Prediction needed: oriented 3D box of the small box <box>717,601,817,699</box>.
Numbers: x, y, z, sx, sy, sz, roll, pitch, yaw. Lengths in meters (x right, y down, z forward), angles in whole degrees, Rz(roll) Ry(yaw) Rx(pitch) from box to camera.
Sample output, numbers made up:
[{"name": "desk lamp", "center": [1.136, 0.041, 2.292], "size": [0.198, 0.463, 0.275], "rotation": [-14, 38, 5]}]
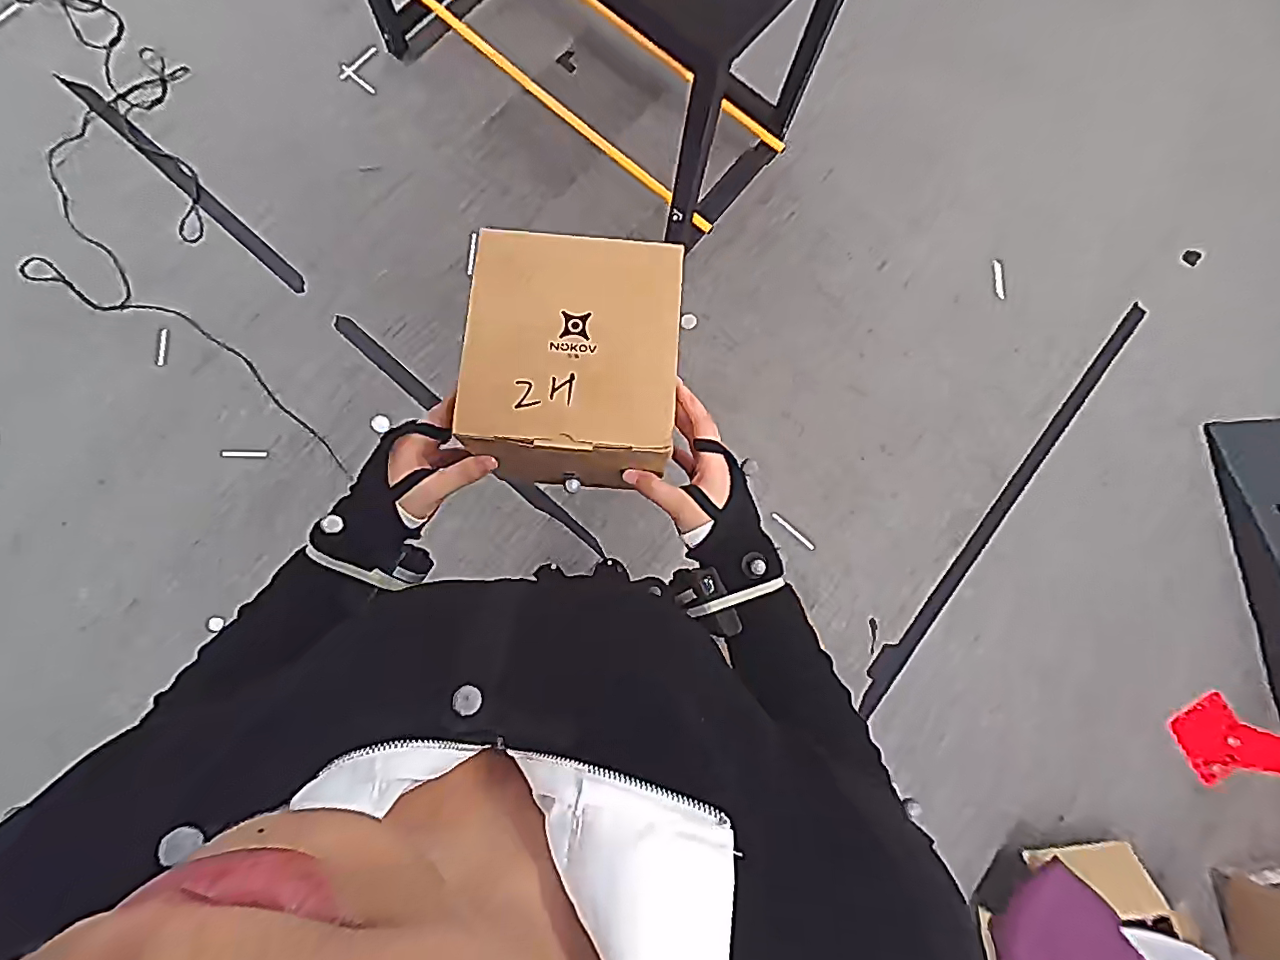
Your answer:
[{"name": "small box", "center": [0.325, 0.435, 1.424], "size": [0.168, 0.176, 0.179], "rotation": [44, 81, 4]}]

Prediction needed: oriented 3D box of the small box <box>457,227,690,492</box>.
[{"name": "small box", "center": [-0.051, -0.095, 0.494], "size": [0.168, 0.176, 0.179], "rotation": [4, 79, -2]}]
